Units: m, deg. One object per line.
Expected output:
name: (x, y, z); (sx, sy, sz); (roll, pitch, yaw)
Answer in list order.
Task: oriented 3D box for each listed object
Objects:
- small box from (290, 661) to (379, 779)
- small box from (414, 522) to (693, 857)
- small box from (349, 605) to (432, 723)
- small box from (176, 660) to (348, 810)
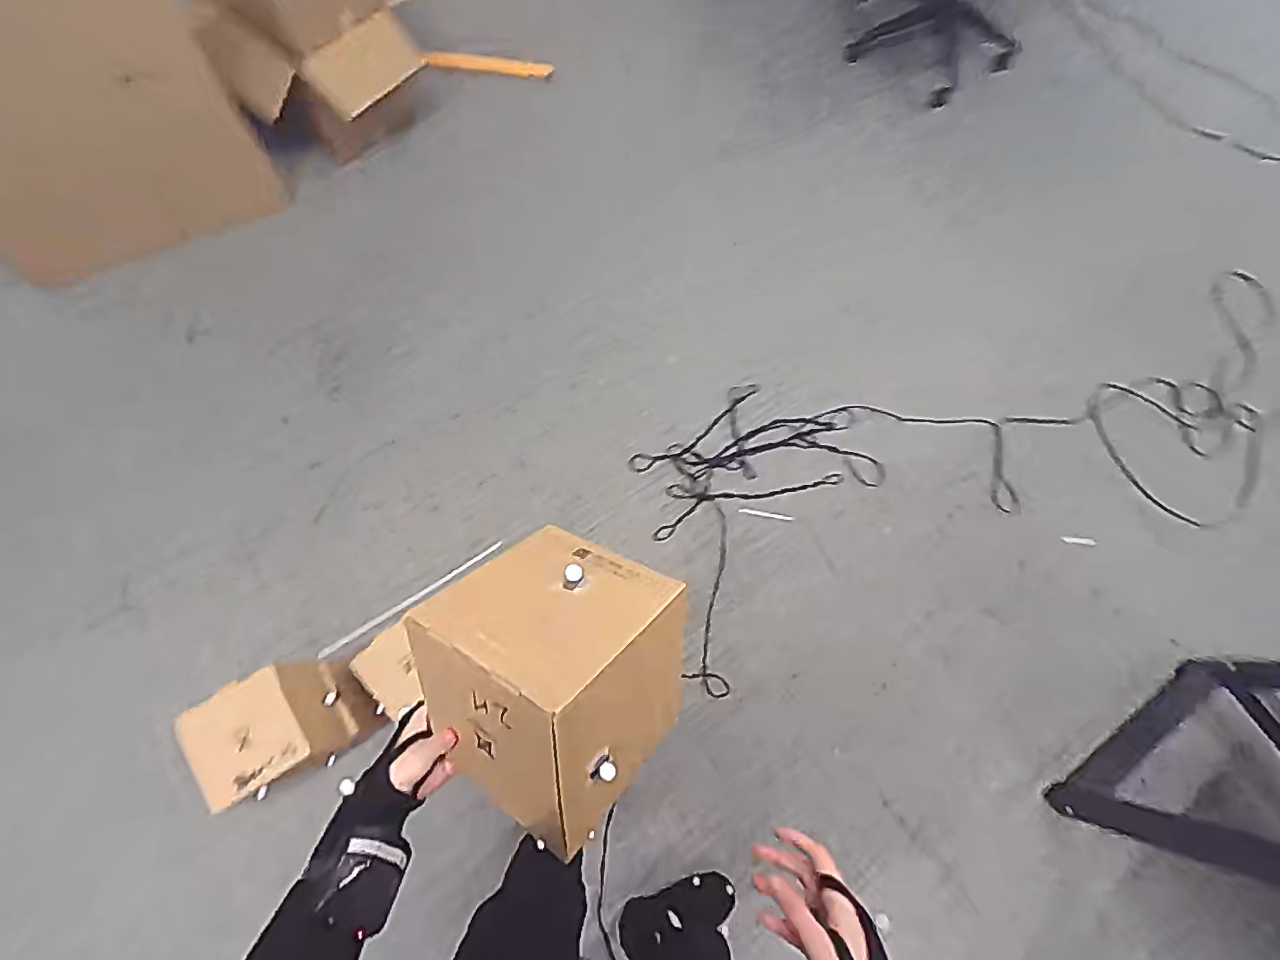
small box: (-0.678, 0.496, 1.134); (0.179, 0.176, 0.168); (-32, 77, -13)
small box: (-0.066, 0.166, 0.478); (0.168, 0.179, 0.176); (20, 32, 30)
small box: (-0.485, 0.400, 1.183); (0.168, 0.176, 0.179); (-42, 80, -15)
small box: (-0.669, 0.449, 0.977); (0.168, 0.176, 0.179); (-31, 76, -13)
